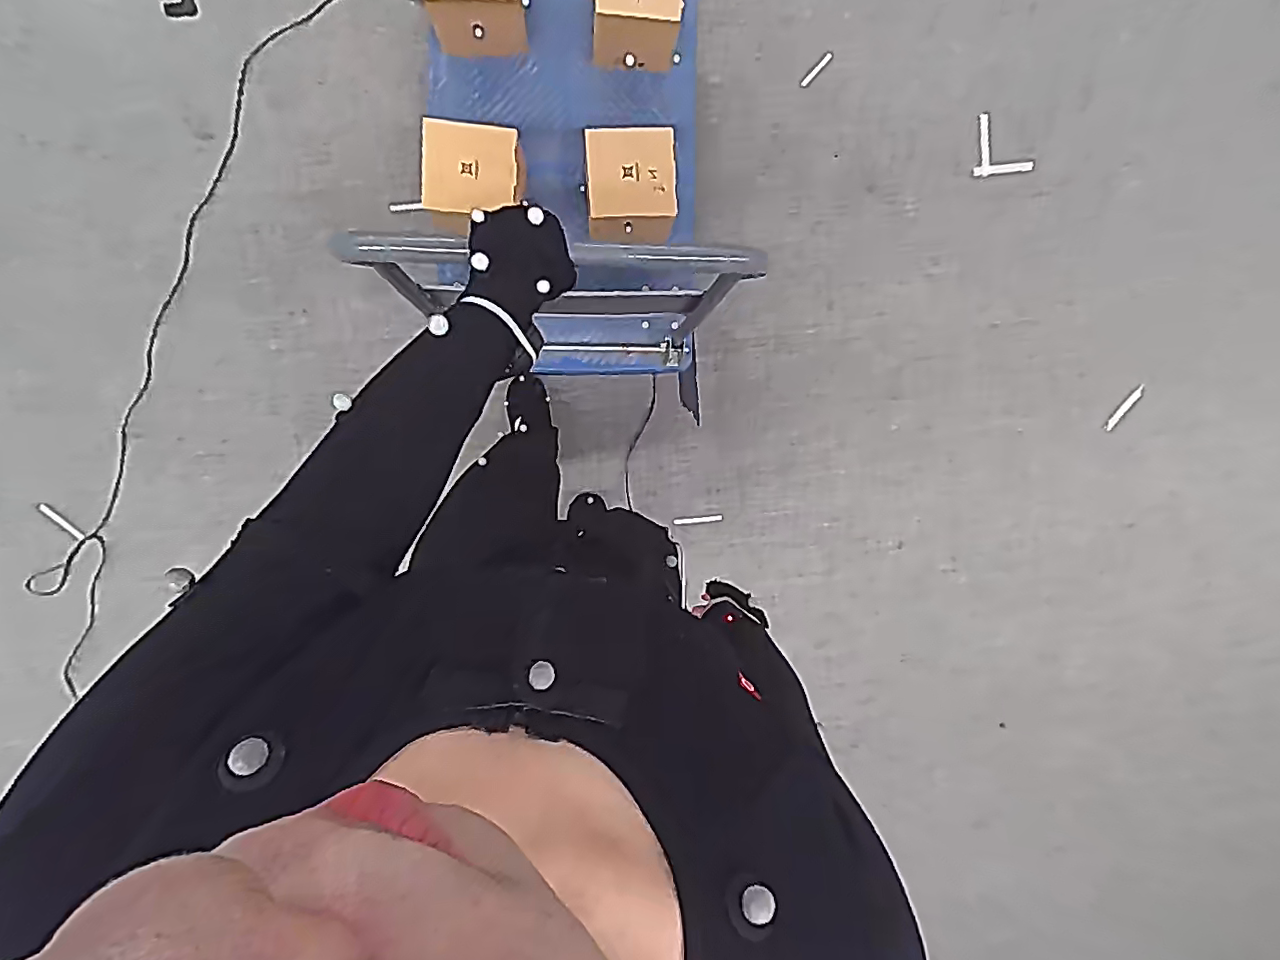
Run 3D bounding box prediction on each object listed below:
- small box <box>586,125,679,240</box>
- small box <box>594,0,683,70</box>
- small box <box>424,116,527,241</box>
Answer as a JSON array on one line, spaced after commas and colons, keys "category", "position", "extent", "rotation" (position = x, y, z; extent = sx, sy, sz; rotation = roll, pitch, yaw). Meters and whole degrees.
[{"category": "small box", "position": [-0.020, -0.614, 1.133], "extent": [0.179, 0.176, 0.168], "rotation": [-4, 97, -5]}, {"category": "small box", "position": [-0.006, -0.979, 1.090], "extent": [0.168, 0.176, 0.179], "rotation": [1, 98, -6]}, {"category": "small box", "position": [-0.328, -0.603, 1.102], "extent": [0.179, 0.176, 0.168], "rotation": [2, 96, -8]}]
